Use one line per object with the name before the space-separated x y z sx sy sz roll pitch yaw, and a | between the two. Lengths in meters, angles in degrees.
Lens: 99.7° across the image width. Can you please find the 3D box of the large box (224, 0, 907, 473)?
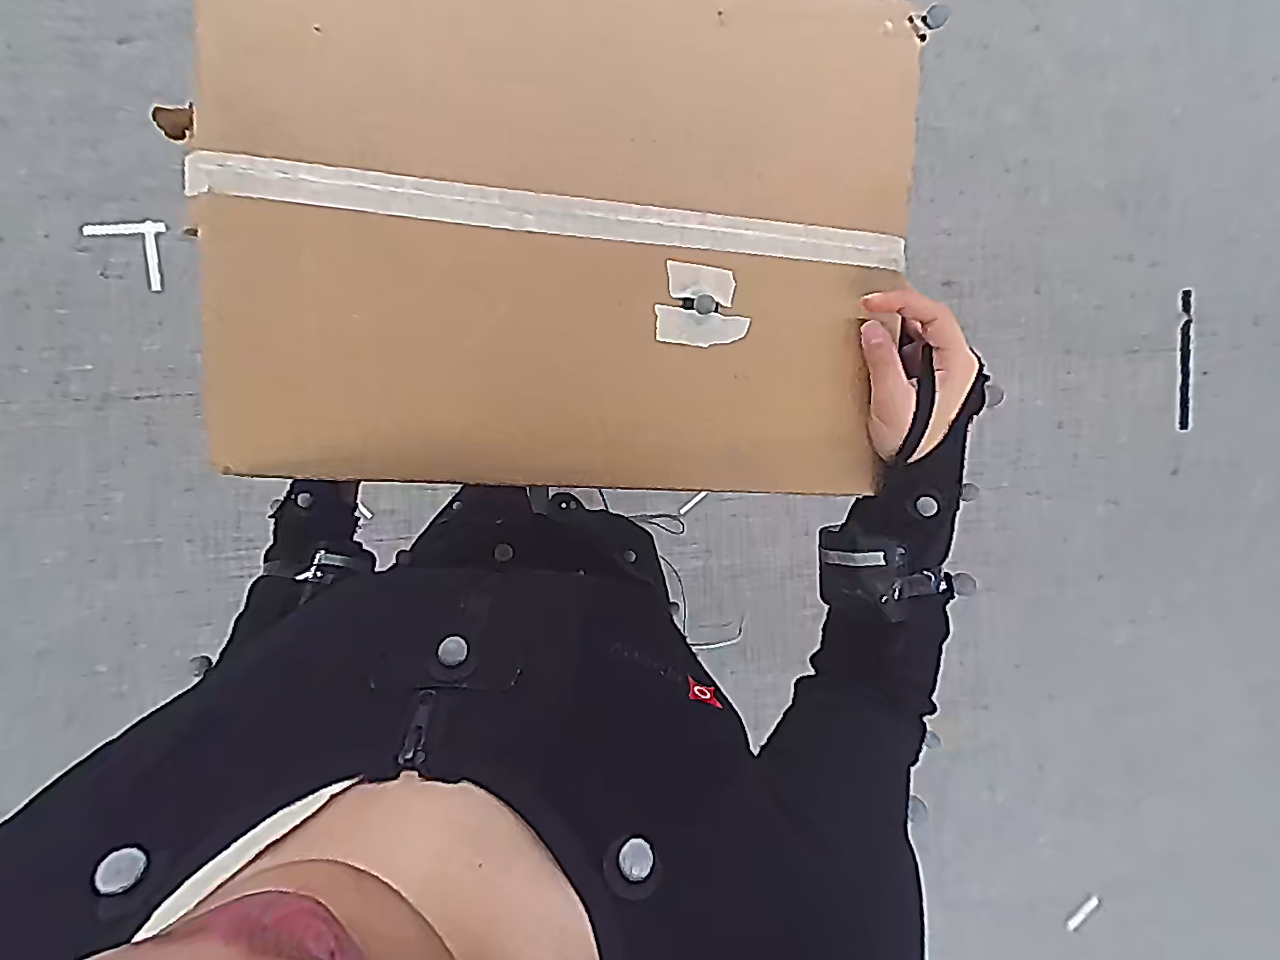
large box | -0.055 -0.174 0.470 0.408 0.320 0.320 2 96 -12
